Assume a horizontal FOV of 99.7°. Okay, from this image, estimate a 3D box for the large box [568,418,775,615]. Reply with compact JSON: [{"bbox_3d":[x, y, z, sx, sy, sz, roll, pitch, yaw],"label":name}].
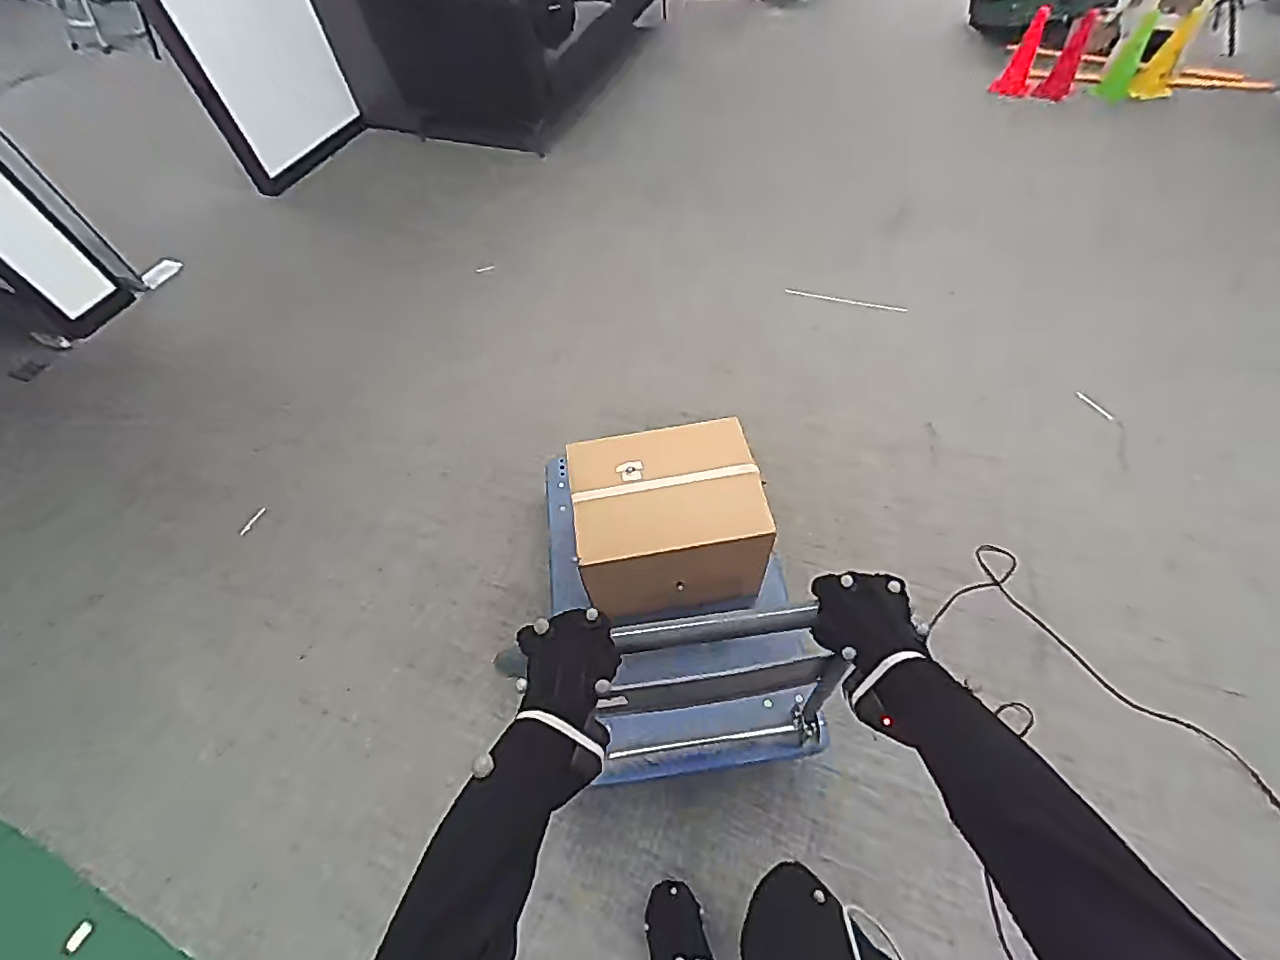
[{"bbox_3d":[0.067,0.096,1.290,0.408,0.320,0.320,-10,56,-1],"label":"large box"}]
